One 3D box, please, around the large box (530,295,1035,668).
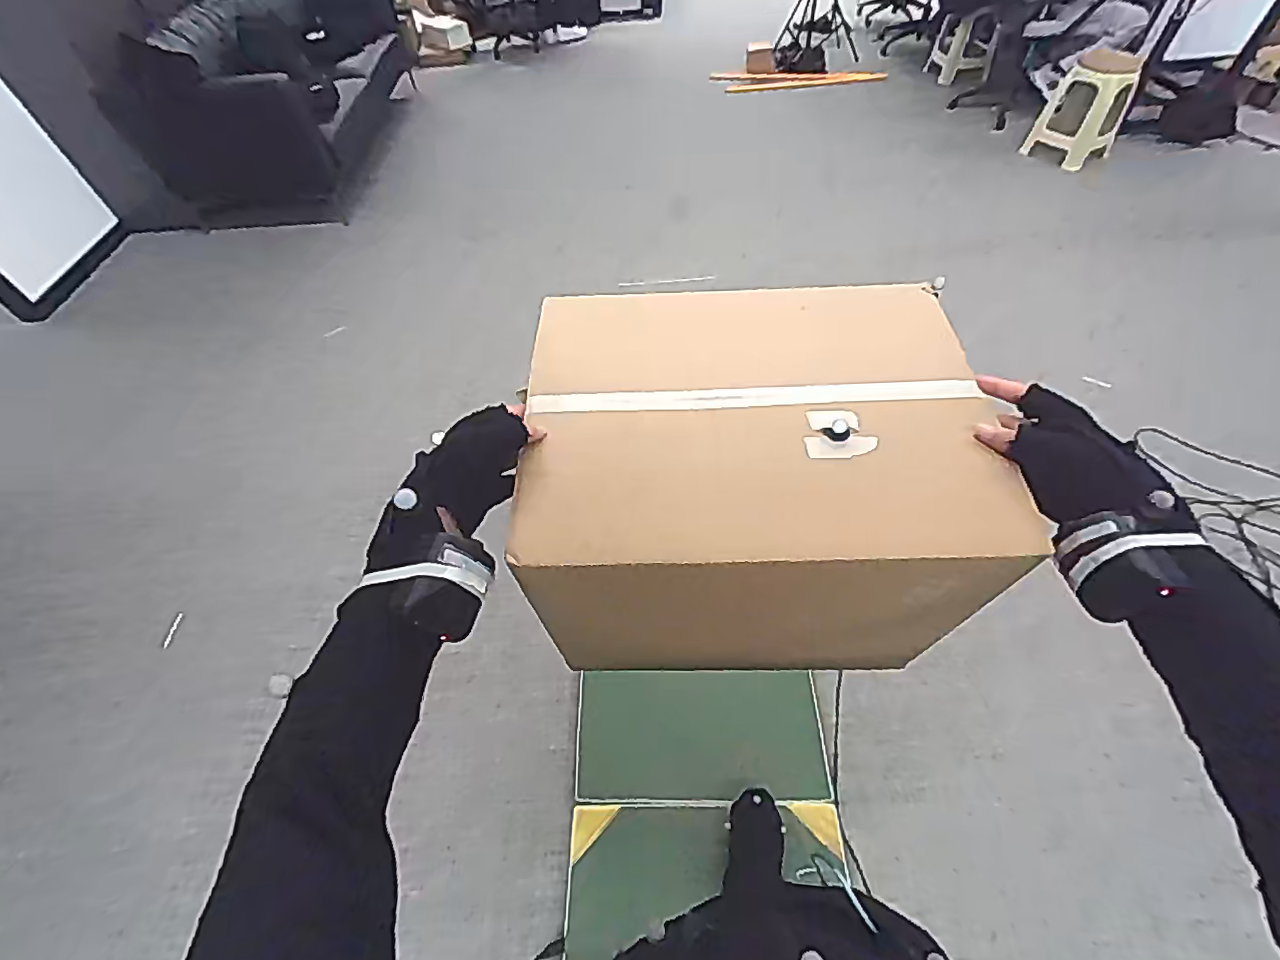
[{"bbox_3d":[0.110,0.016,0.625,0.408,0.320,0.320,-1,57,1],"label":"large box"}]
